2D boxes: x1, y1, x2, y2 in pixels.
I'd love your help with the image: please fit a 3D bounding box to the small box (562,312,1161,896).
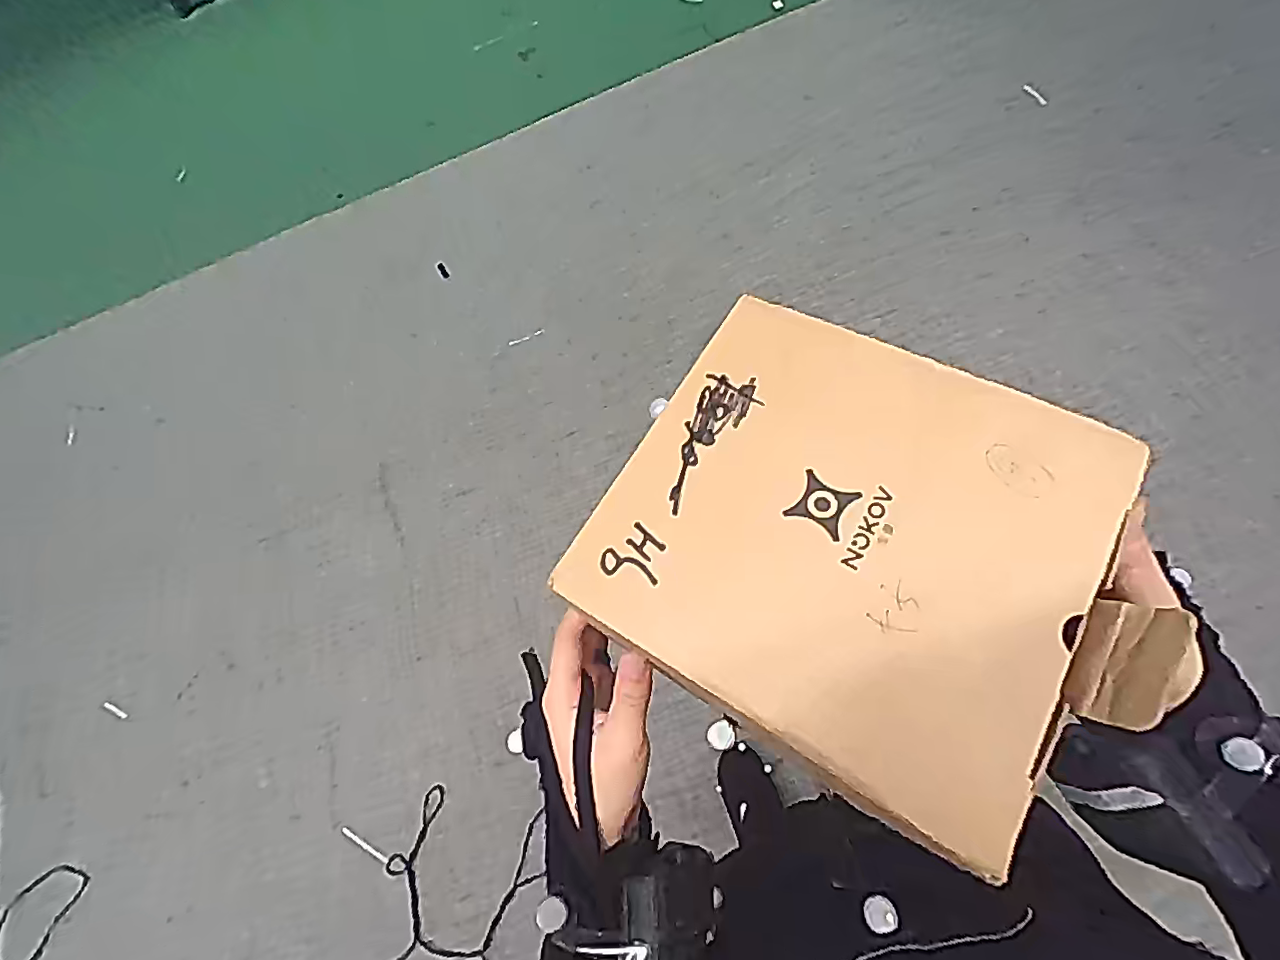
[{"bbox_3d":[0.092,0.055,0.284,0.179,0.176,0.168,31,73,19],"label":"small box"}]
